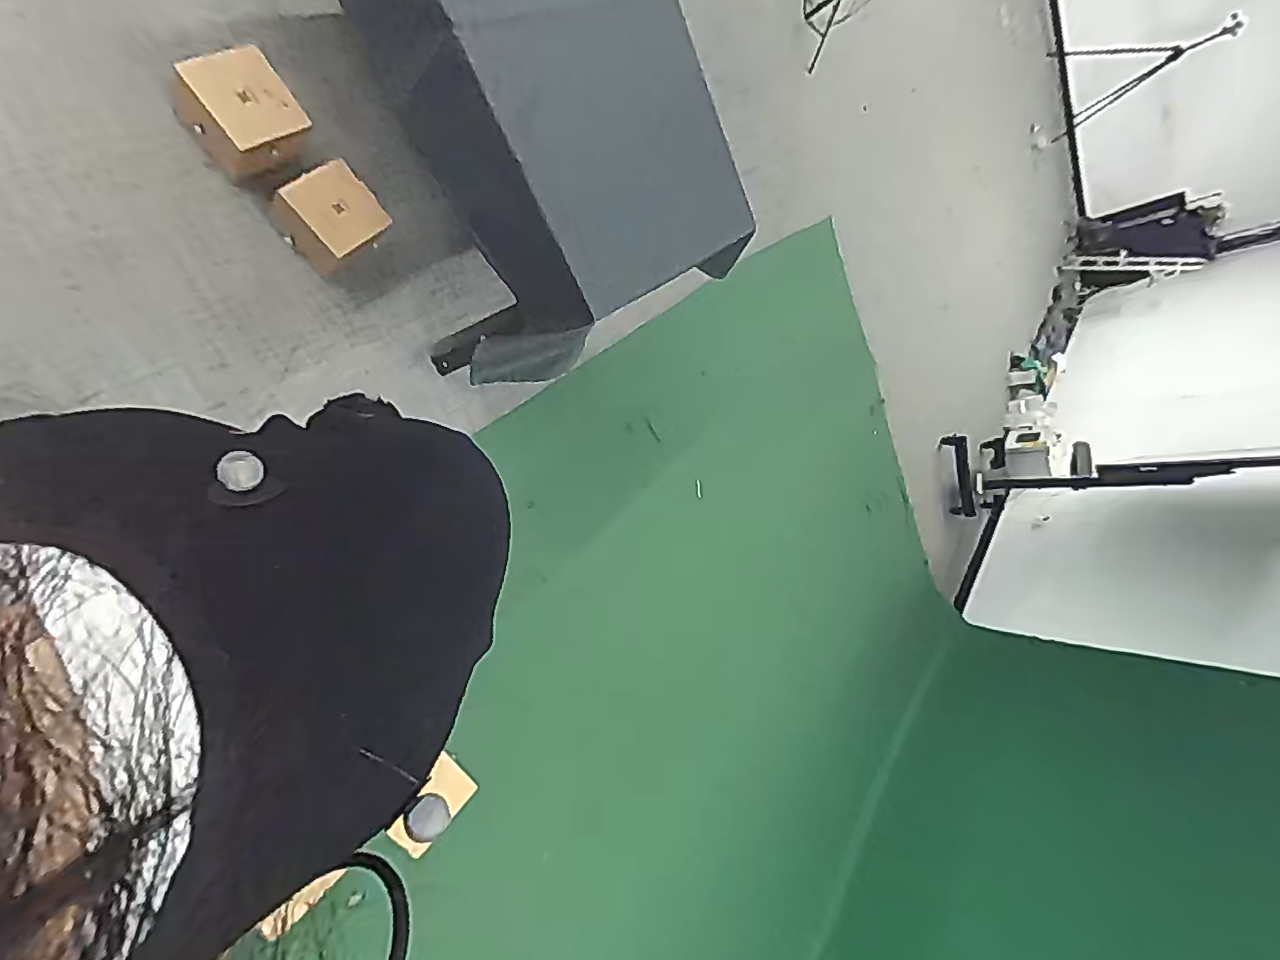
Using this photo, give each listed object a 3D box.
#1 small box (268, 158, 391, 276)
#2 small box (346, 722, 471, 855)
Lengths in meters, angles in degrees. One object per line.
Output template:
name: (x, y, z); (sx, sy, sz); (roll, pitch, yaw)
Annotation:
small box: (-0.738, -0.617, 1.281); (0.168, 0.176, 0.179); (53, 56, -28)
small box: (-0.530, 0.690, 1.233); (0.179, 0.176, 0.168); (-44, 118, -33)
